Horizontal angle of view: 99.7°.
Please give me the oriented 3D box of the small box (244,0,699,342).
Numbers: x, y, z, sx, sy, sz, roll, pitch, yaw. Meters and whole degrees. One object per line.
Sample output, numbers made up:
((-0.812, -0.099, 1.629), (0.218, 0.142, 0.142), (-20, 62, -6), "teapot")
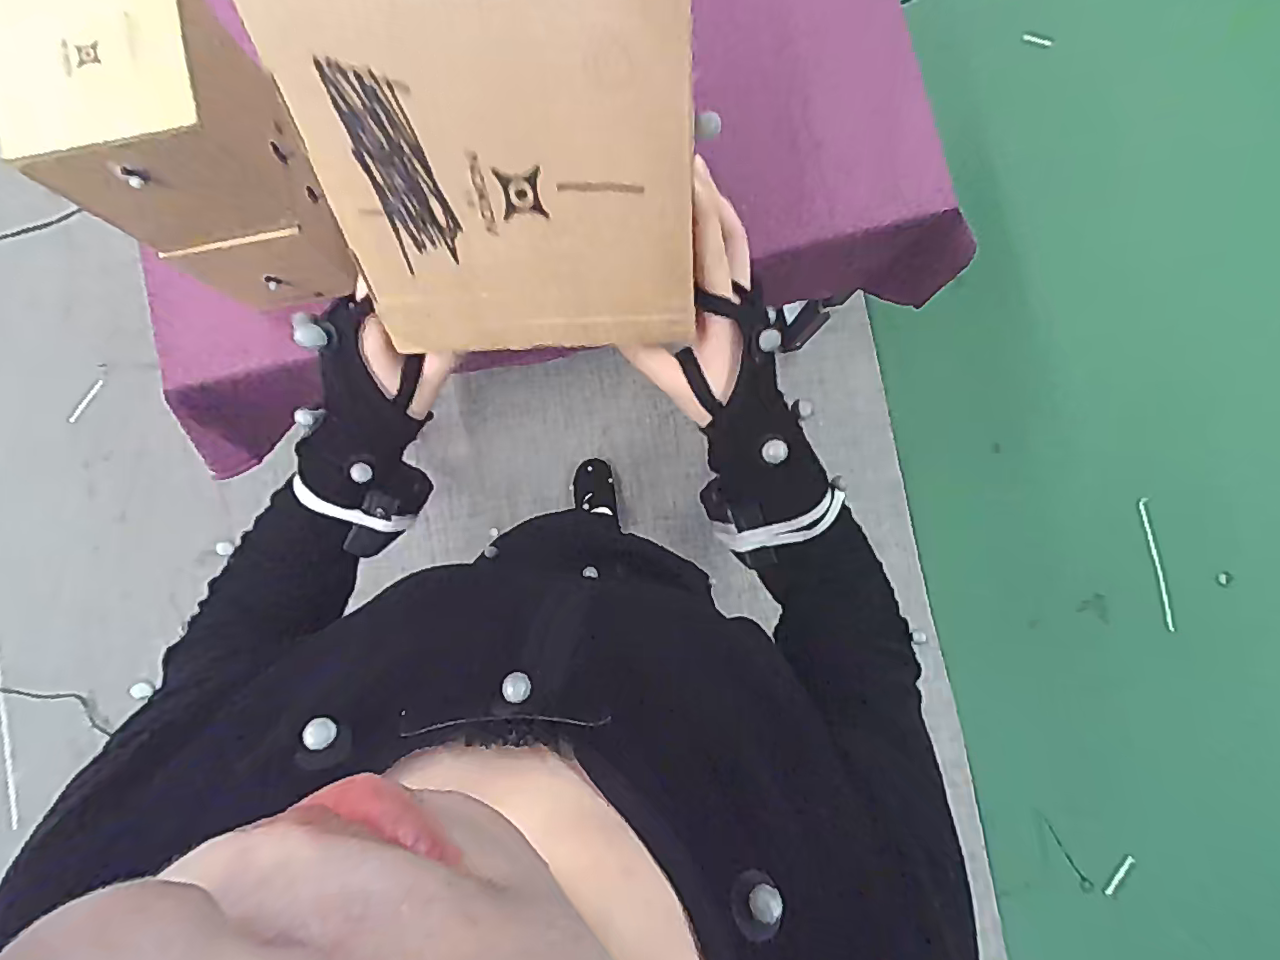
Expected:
((-0.056, -0.194, 0.302), (0.179, 0.168, 0.176), (-1, 45, 6), "small box")

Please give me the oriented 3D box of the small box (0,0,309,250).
((-0.485, -0.360, 0.555), (0.179, 0.176, 0.168), (-12, 87, -2), "small box")

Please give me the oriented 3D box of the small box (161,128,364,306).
((-0.492, -0.347, 0.717), (0.168, 0.176, 0.179), (-10, 86, -2), "small box")
